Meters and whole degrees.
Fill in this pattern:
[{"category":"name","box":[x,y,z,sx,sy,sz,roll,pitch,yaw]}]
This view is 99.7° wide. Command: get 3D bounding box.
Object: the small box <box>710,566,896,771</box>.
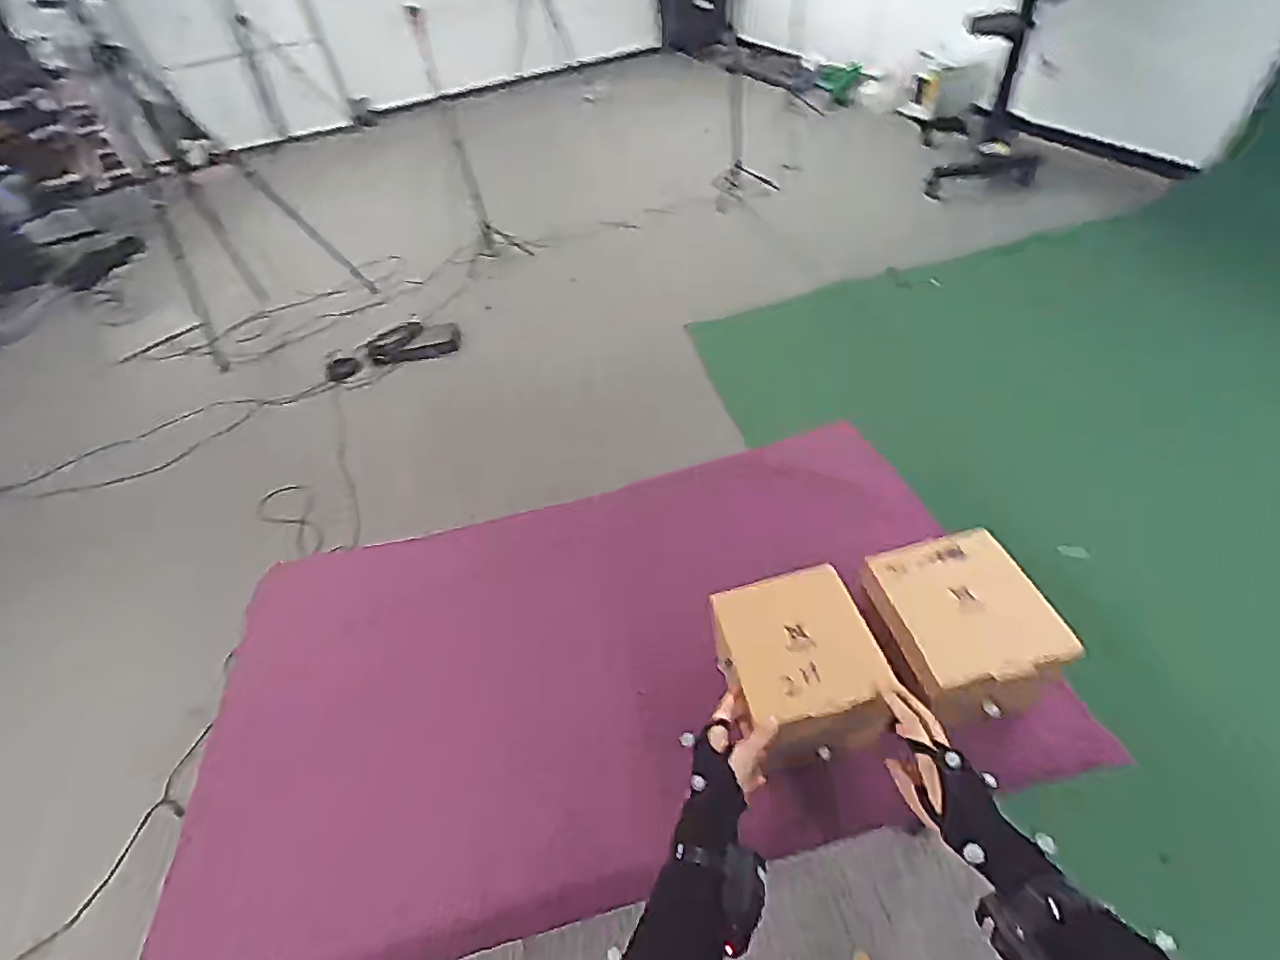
[{"category":"small box","box":[0.195,0.243,0.697,0.168,0.176,0.179,-15,46,-1]}]
